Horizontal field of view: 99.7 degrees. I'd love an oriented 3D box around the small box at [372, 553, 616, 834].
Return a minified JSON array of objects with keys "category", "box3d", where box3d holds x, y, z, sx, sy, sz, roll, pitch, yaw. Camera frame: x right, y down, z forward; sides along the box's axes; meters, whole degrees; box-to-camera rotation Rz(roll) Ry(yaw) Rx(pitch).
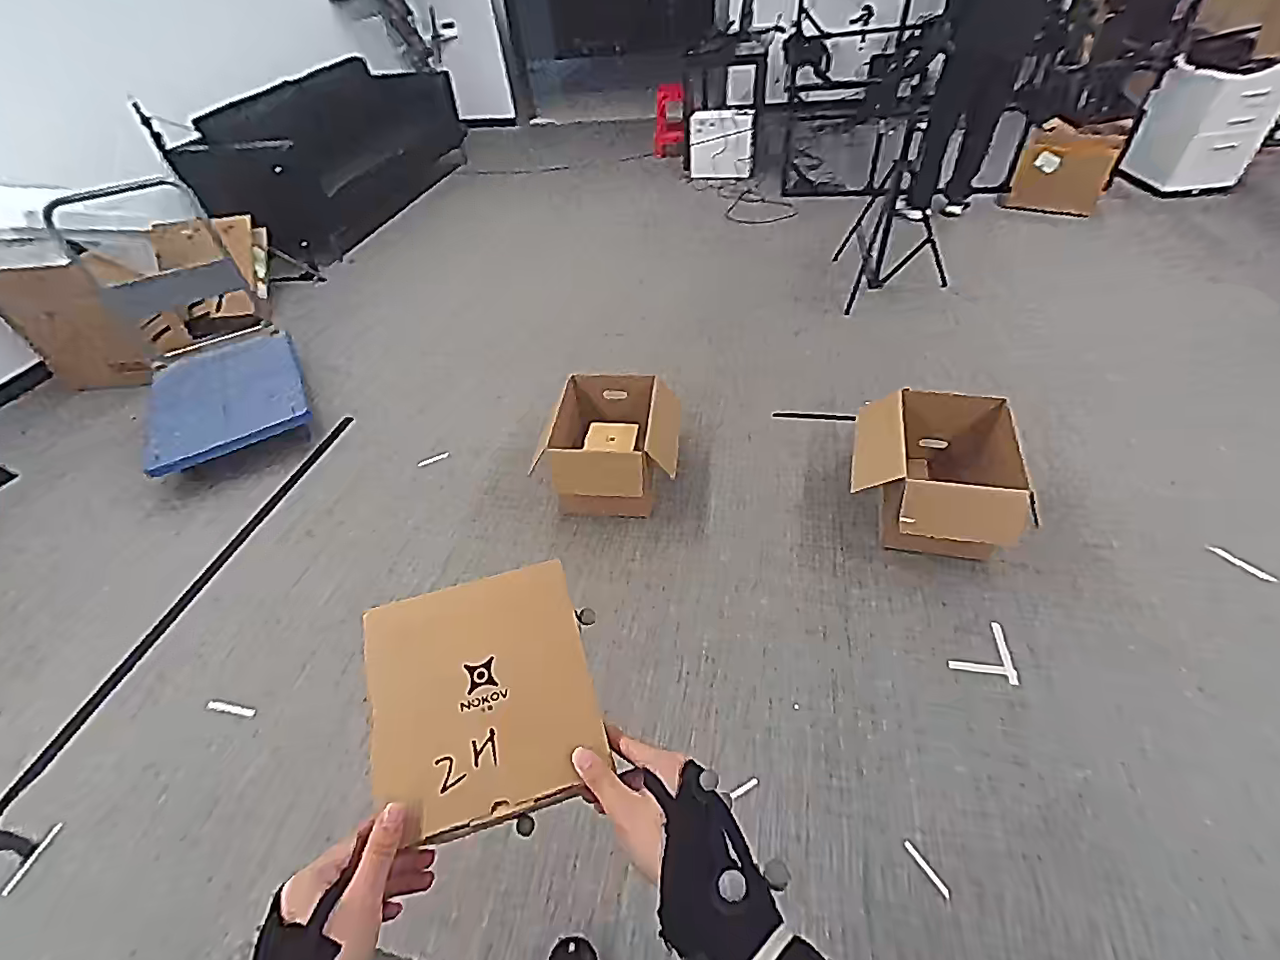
[{"category":"small box","box3d":[-0.123,0.193,0.486,0.168,0.176,0.179,-14,60,-10]}]
